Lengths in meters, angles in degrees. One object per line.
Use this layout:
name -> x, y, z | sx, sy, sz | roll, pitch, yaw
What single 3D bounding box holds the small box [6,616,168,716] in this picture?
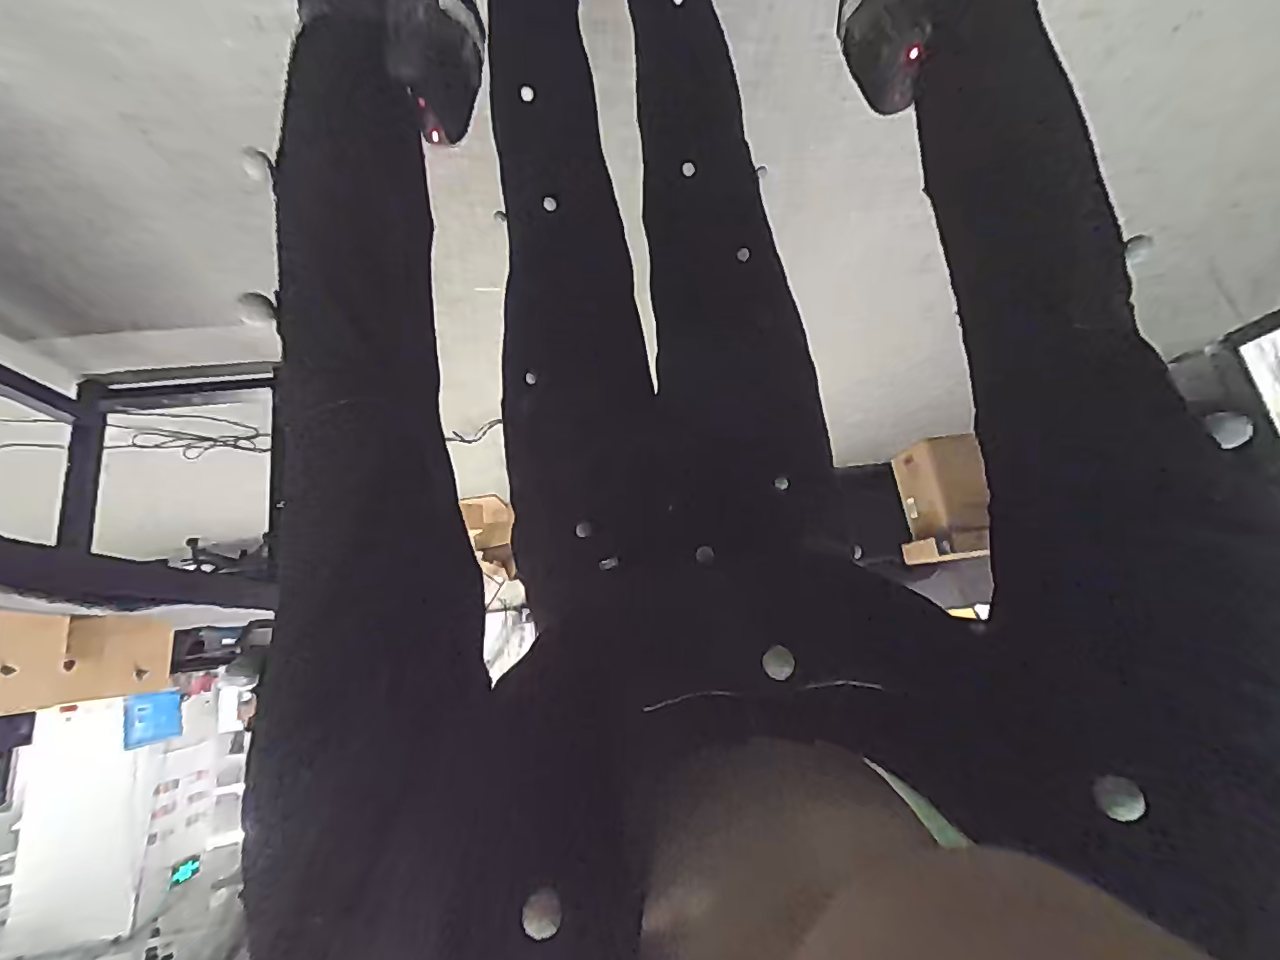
small box -> -1.153, 0.385, 1.142 | 0.168, 0.176, 0.179 | -8, 165, -3
